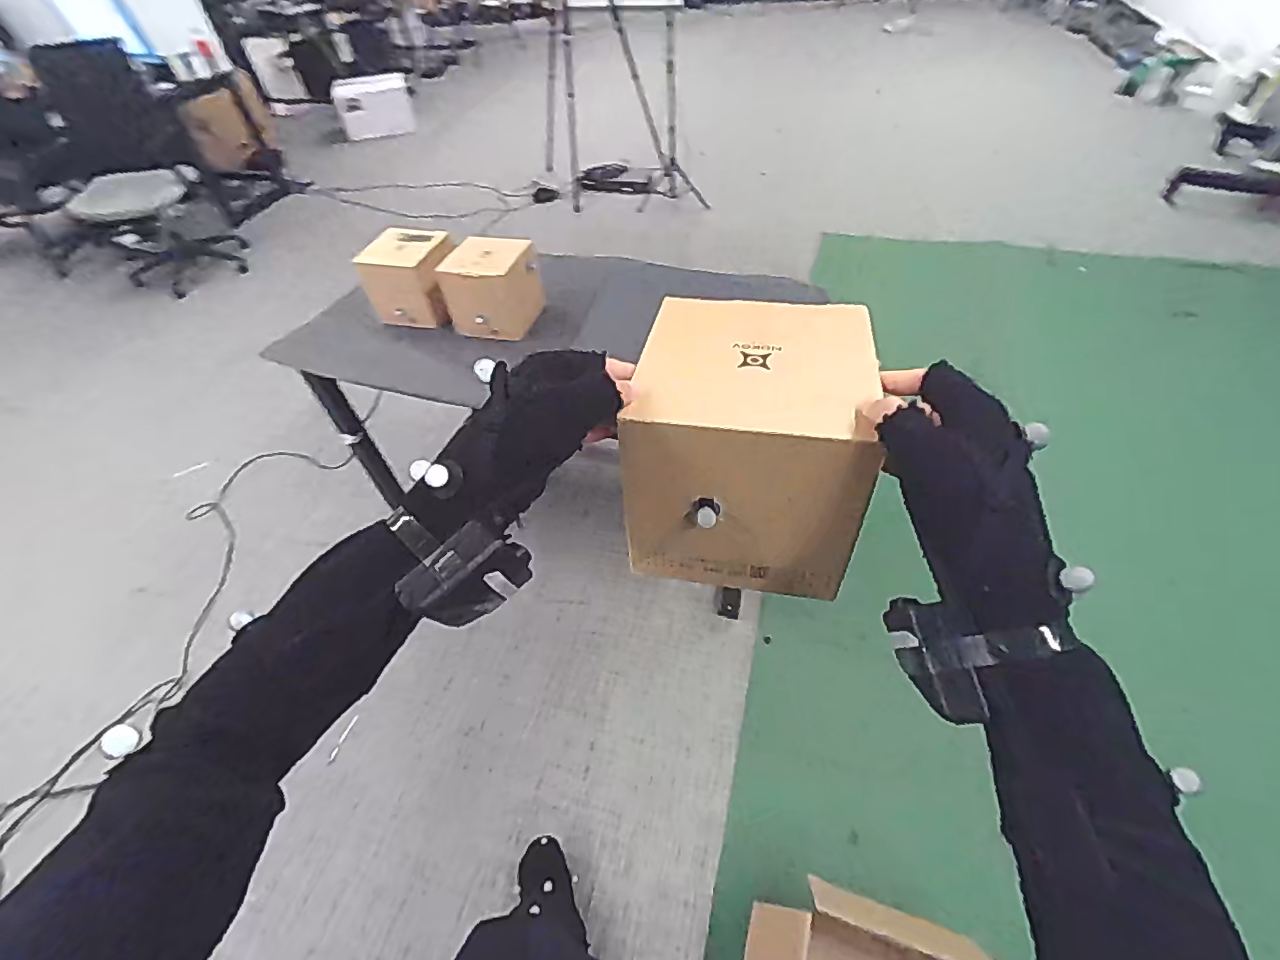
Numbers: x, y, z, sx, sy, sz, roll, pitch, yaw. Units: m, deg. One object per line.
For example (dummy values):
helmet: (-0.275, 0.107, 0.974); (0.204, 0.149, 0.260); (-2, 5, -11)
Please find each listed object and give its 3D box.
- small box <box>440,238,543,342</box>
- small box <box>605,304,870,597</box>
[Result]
small box: (-0.343, -0.456, 1.296); (0.168, 0.176, 0.179); (9, 50, 12)
small box: (0.078, -0.026, 0.443); (0.168, 0.176, 0.179); (6, 44, 10)
